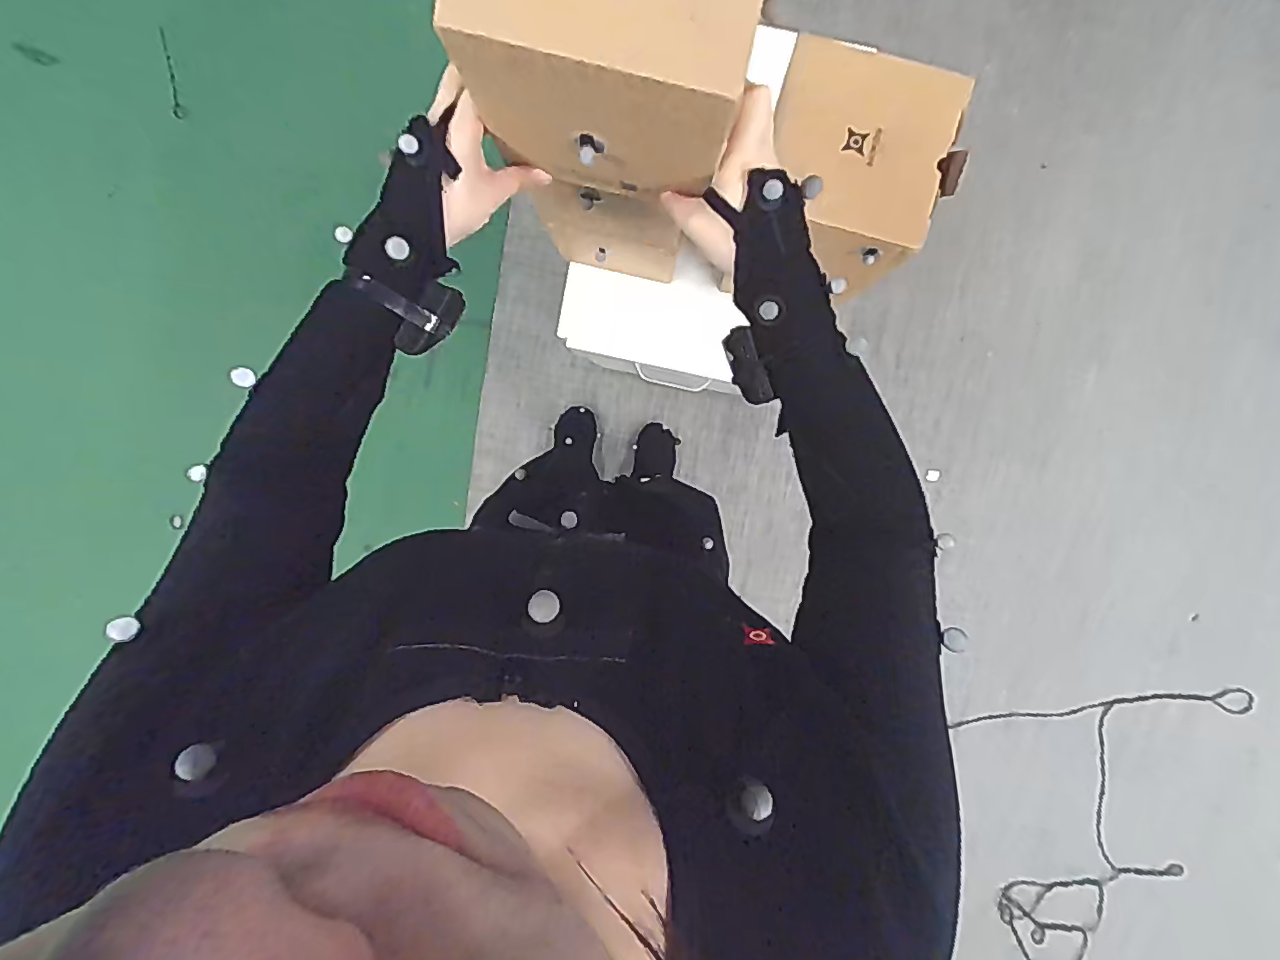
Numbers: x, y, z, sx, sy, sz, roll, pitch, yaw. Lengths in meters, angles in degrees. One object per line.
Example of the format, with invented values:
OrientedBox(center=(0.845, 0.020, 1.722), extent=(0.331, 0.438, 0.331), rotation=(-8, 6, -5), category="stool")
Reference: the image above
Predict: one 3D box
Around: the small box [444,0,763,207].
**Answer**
OrientedBox(center=(-0.008, -0.309, 0.355), extent=(0.168, 0.176, 0.179), rotation=(12, 97, -3), category="small box")

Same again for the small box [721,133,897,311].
OrientedBox(center=(0.224, -0.348, 0.764), extent=(0.179, 0.176, 0.168), rotation=(13, 97, 2), category="small box")

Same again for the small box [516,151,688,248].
OrientedBox(center=(-0.021, -0.376, 0.599), extent=(0.179, 0.176, 0.168), rotation=(12, 98, -2), category="small box")

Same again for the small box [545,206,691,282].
OrientedBox(center=(-0.019, -0.394, 0.763), extent=(0.179, 0.176, 0.168), rotation=(12, 98, -1), category="small box")
